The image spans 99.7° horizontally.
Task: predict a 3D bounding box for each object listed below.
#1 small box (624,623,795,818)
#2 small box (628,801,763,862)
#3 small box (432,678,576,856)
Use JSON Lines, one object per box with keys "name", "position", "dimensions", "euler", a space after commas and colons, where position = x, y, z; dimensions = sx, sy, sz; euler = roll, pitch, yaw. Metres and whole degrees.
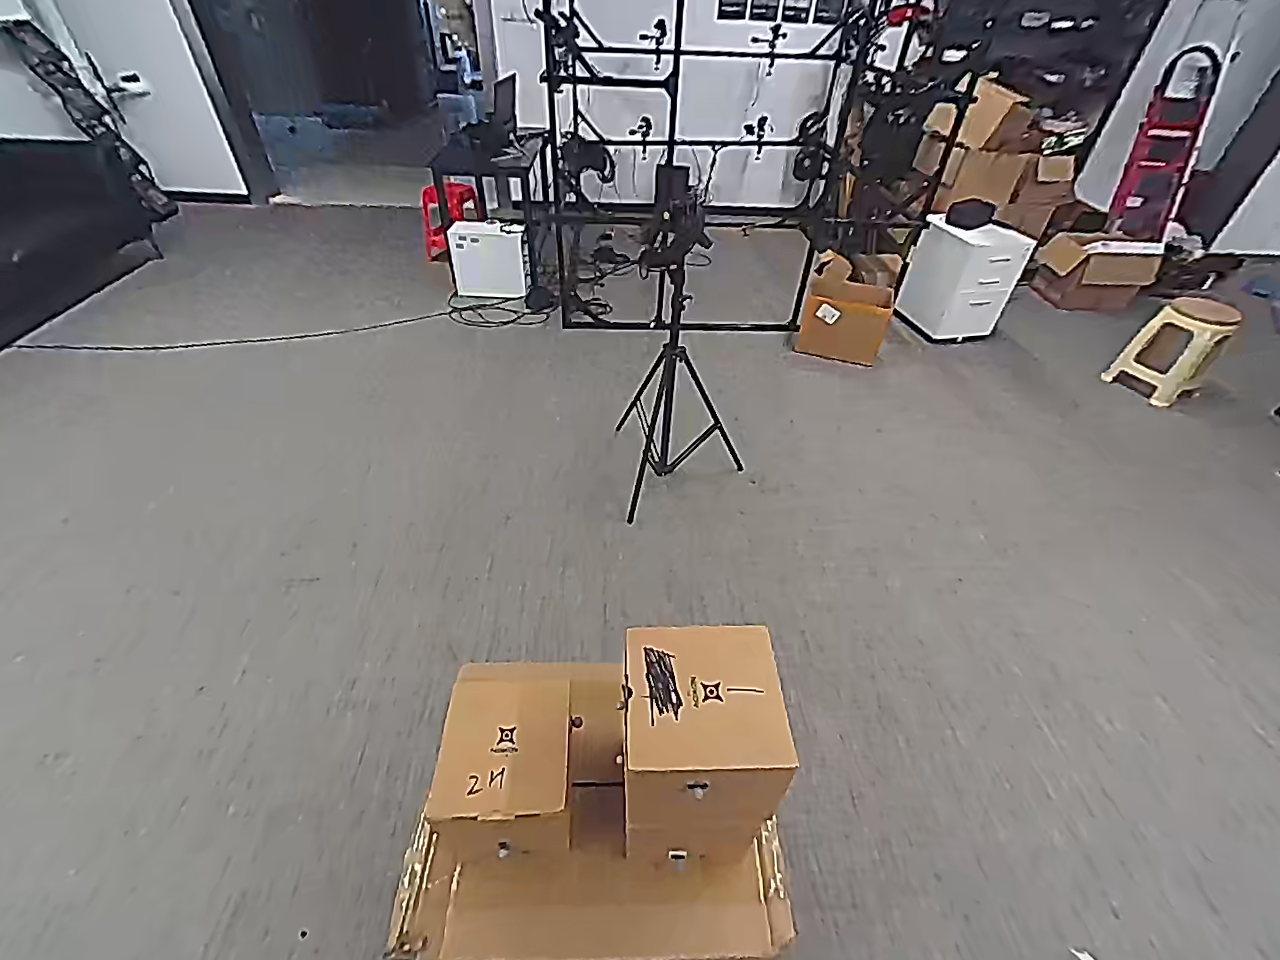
{"name": "small box", "position": [0.070, 0.292, 0.656], "dimensions": [0.179, 0.176, 0.168], "euler": [-1, 42, -2]}
{"name": "small box", "position": [0.066, 0.415, 0.767], "dimensions": [0.168, 0.176, 0.179], "euler": [-2, 43, -1]}
{"name": "small box", "position": [-0.178, 0.403, 0.765], "dimensions": [0.168, 0.176, 0.179], "euler": [0, 42, -4]}
